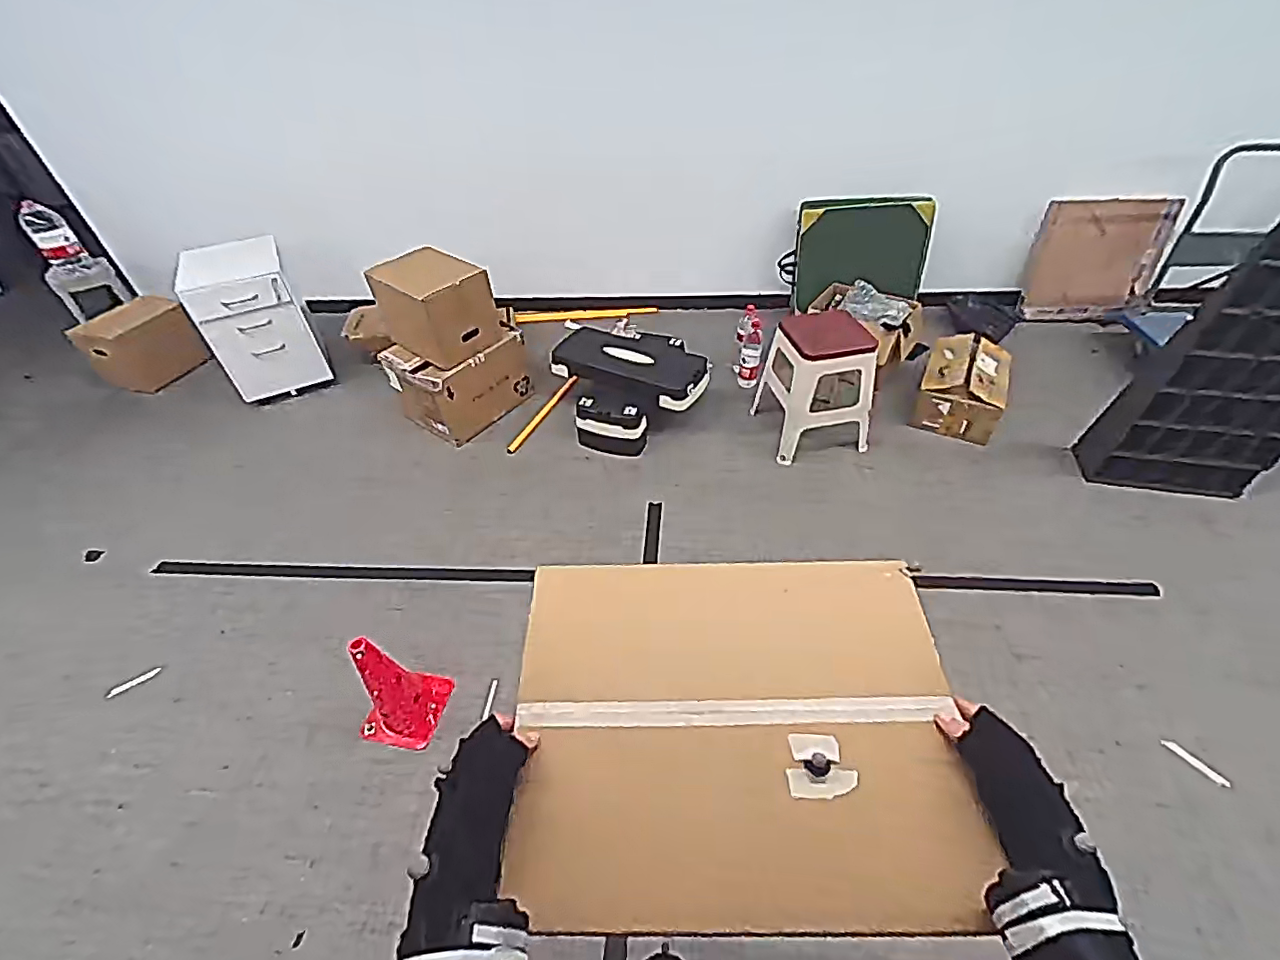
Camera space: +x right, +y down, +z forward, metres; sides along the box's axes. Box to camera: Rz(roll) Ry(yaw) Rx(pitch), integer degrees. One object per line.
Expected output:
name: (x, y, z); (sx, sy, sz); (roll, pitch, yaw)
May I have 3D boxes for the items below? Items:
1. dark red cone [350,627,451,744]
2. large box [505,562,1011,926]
dark red cone: (-0.649, 0.499, 1.380); (0.201, 0.394, 0.202); (6, 45, 8)
large box: (0.092, 0.309, 0.626); (0.408, 0.320, 0.320); (-1, 52, 1)
